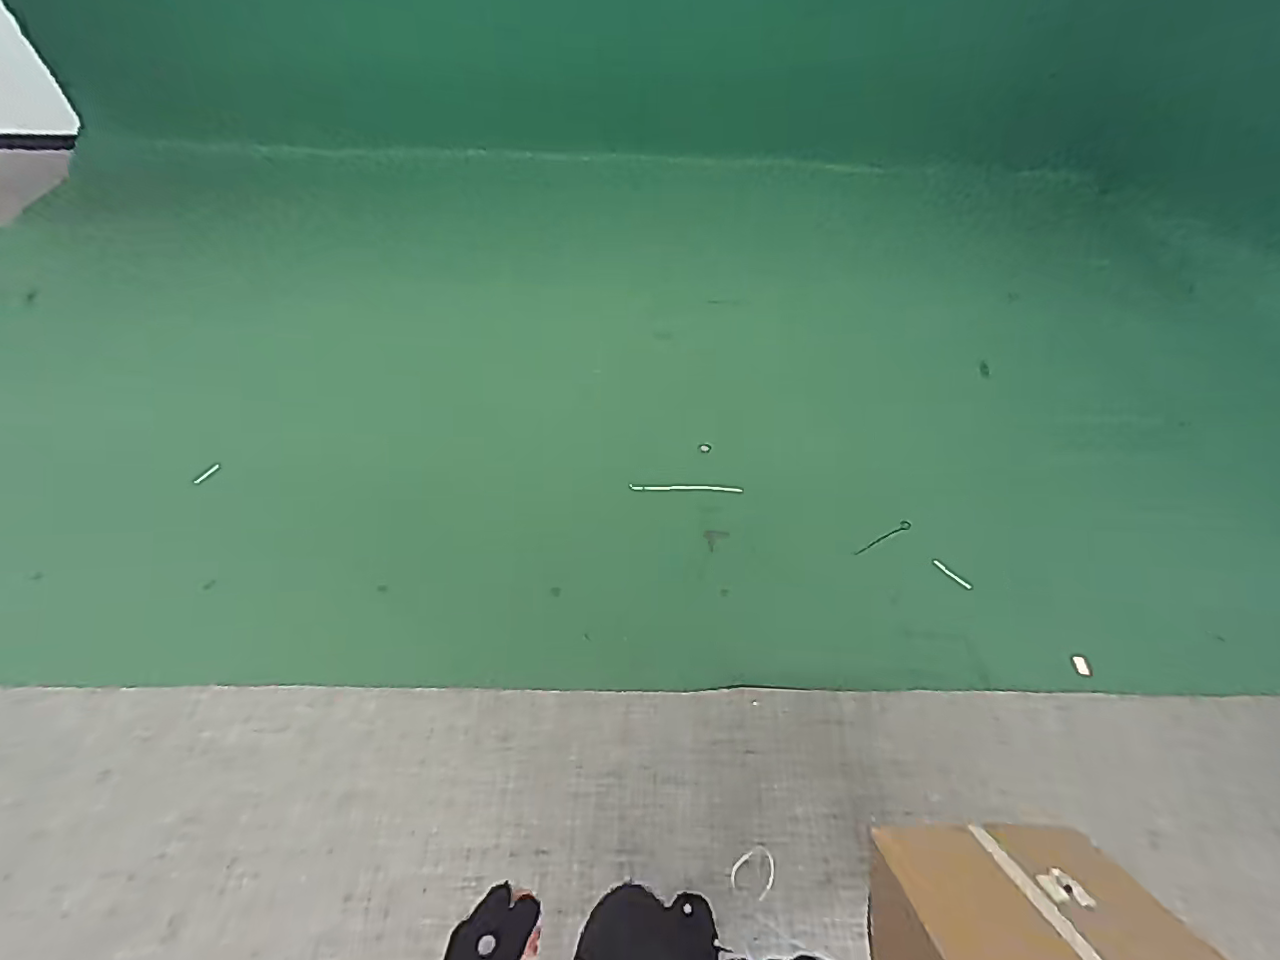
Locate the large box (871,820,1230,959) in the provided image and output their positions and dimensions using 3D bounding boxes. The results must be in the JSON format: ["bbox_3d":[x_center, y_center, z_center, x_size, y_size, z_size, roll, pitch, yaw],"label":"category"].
[{"bbox_3d":[0.514,0.689,0.647,0.320,0.408,0.320,-2,90,3],"label":"large box"}]
